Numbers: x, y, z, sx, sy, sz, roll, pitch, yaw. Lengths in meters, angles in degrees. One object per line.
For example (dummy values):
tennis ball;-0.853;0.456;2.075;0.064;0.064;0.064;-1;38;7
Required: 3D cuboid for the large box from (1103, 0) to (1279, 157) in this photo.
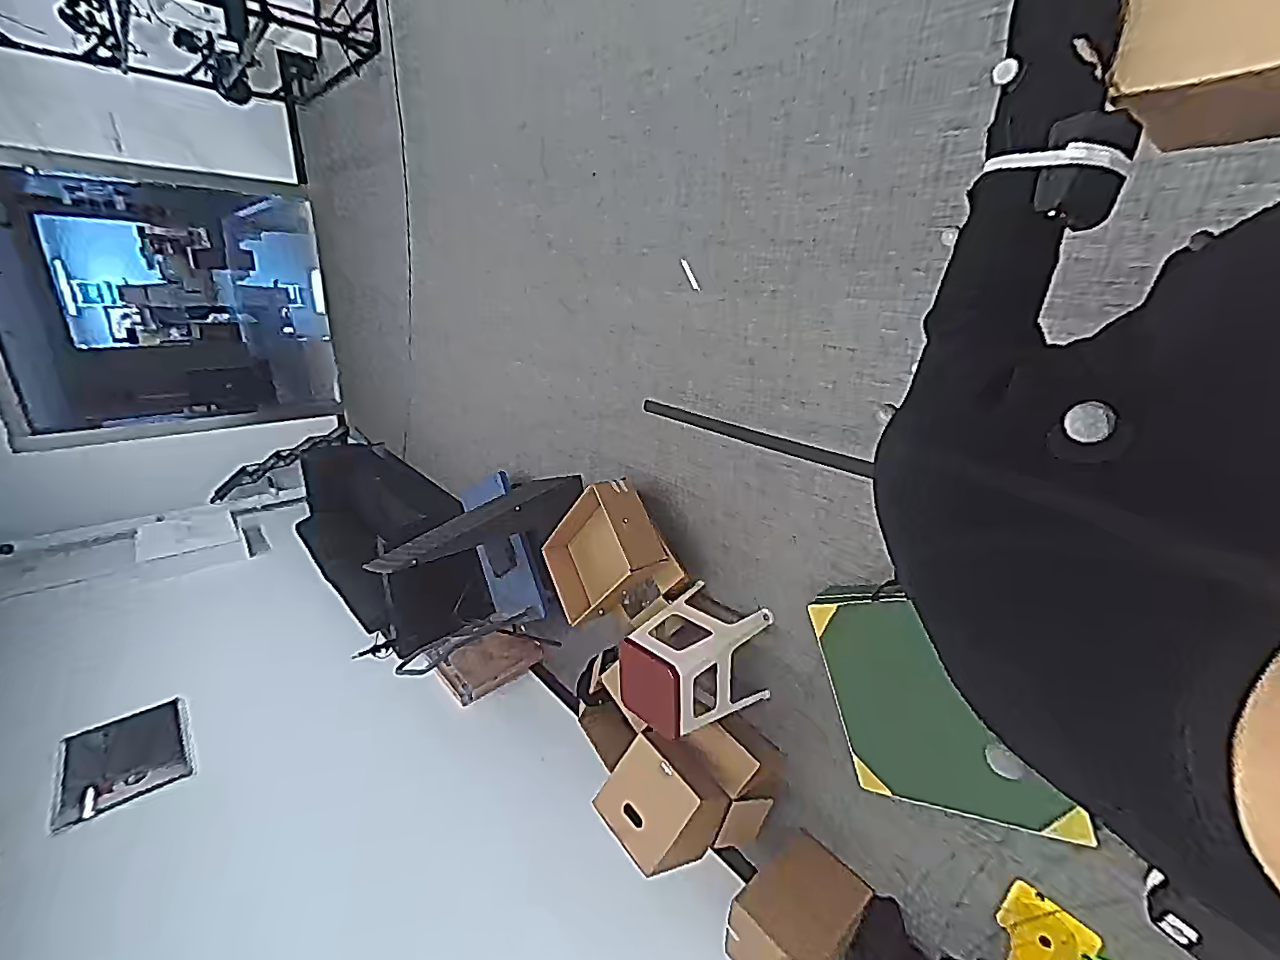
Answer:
large box;0.577;-0.413;0.307;0.408;0.320;0.320;19;119;44
